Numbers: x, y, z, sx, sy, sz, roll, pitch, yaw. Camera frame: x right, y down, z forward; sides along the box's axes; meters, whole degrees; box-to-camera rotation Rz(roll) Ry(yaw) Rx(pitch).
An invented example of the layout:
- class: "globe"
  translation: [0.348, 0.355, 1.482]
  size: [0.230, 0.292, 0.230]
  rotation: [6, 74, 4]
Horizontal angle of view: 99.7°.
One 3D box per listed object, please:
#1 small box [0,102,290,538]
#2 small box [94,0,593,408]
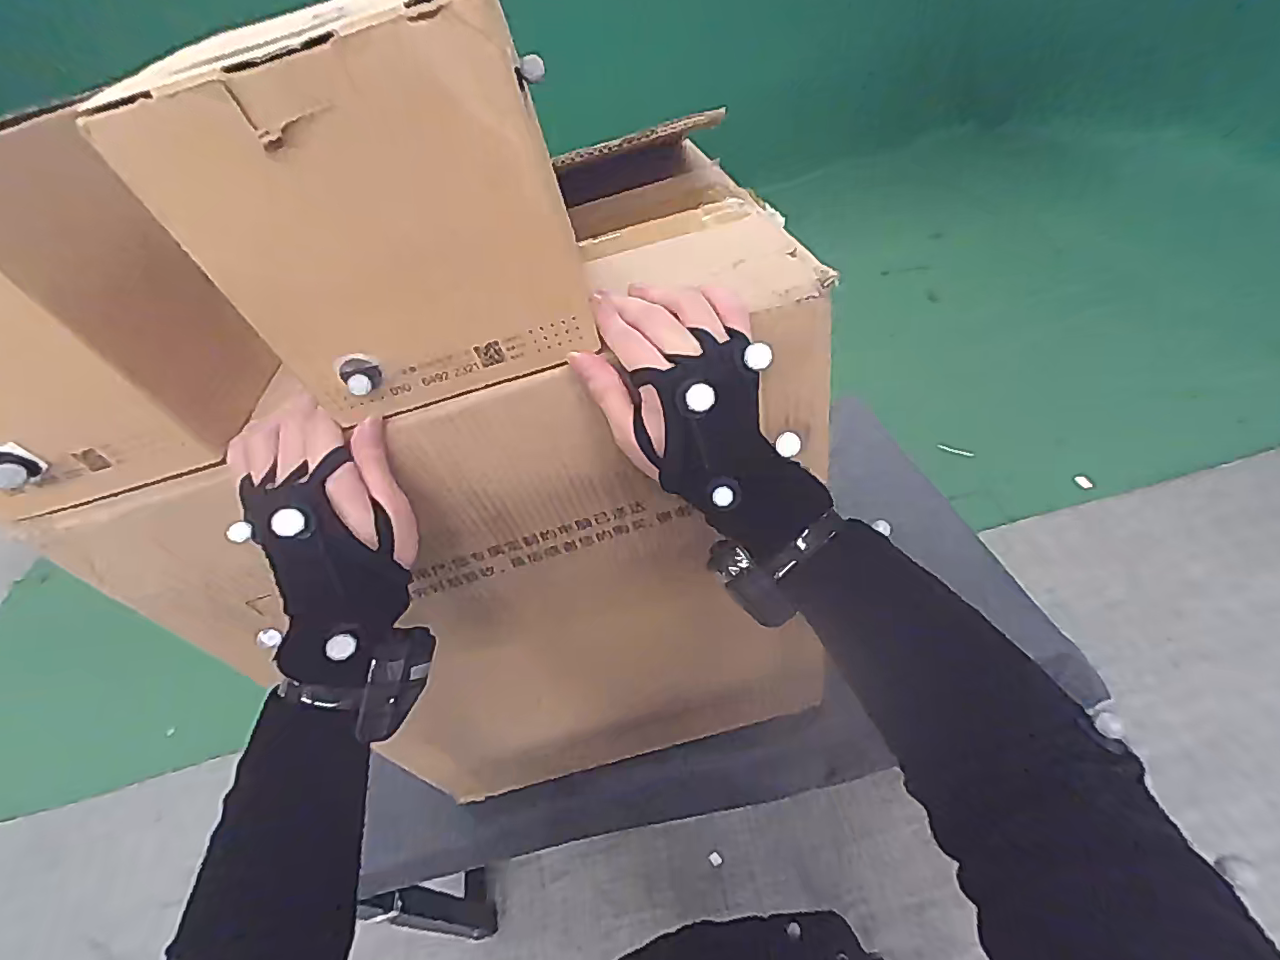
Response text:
- class: "small box"
  translation: [-0.355, -0.095, 0.332]
  size: [0.168, 0.176, 0.179]
  rotation: [-18, 45, 3]
- class: "small box"
  translation: [-0.135, -0.163, 0.322]
  size: [0.168, 0.176, 0.179]
  rotation: [-17, 46, 1]
